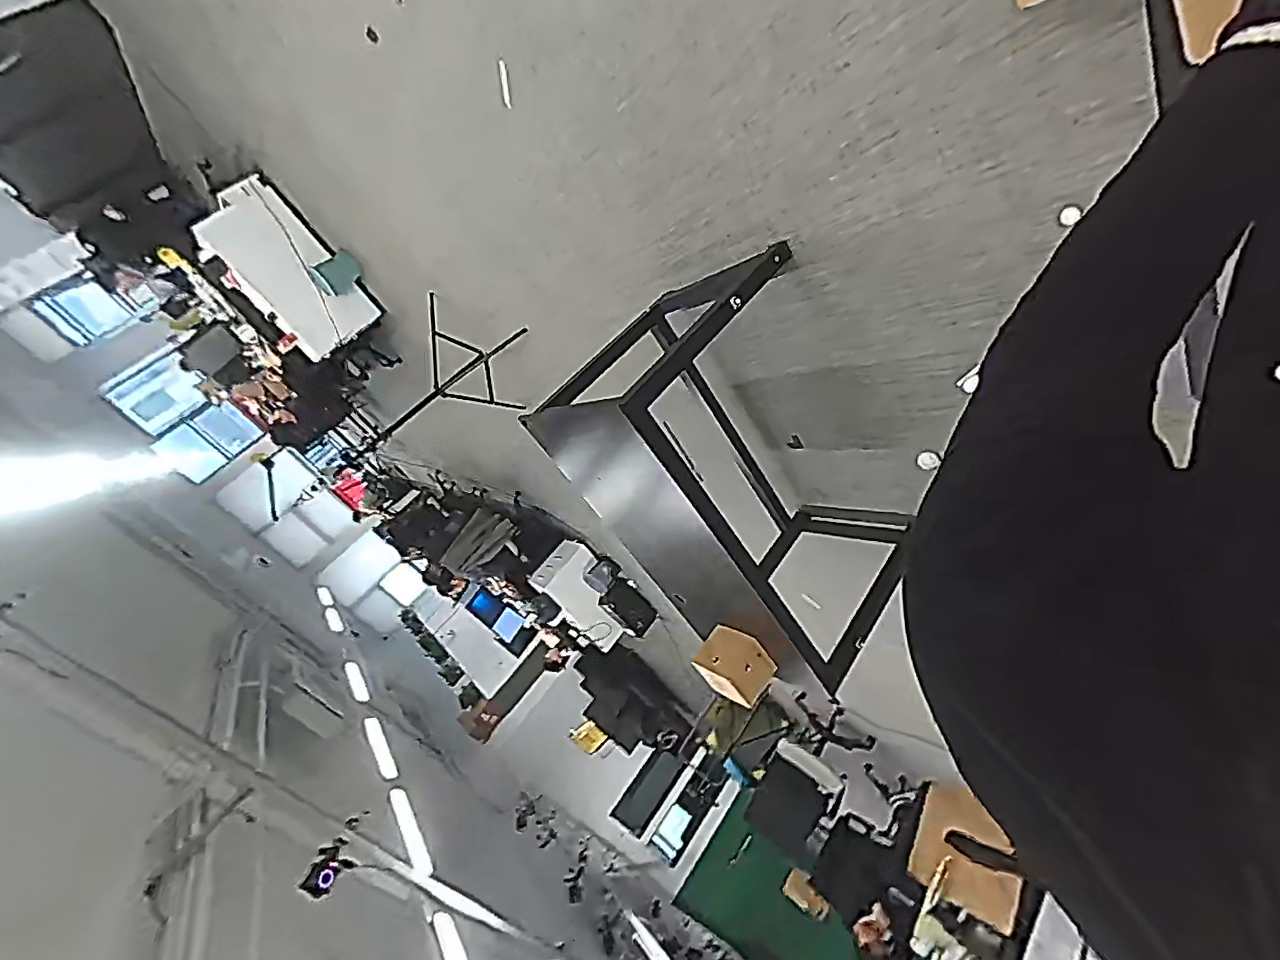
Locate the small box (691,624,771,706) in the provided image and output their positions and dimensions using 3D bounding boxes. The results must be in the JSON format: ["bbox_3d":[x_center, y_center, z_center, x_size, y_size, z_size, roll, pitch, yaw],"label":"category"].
[{"bbox_3d":[0.311,0.607,1.798,0.179,0.176,0.168,6,137,57],"label":"small box"}]
